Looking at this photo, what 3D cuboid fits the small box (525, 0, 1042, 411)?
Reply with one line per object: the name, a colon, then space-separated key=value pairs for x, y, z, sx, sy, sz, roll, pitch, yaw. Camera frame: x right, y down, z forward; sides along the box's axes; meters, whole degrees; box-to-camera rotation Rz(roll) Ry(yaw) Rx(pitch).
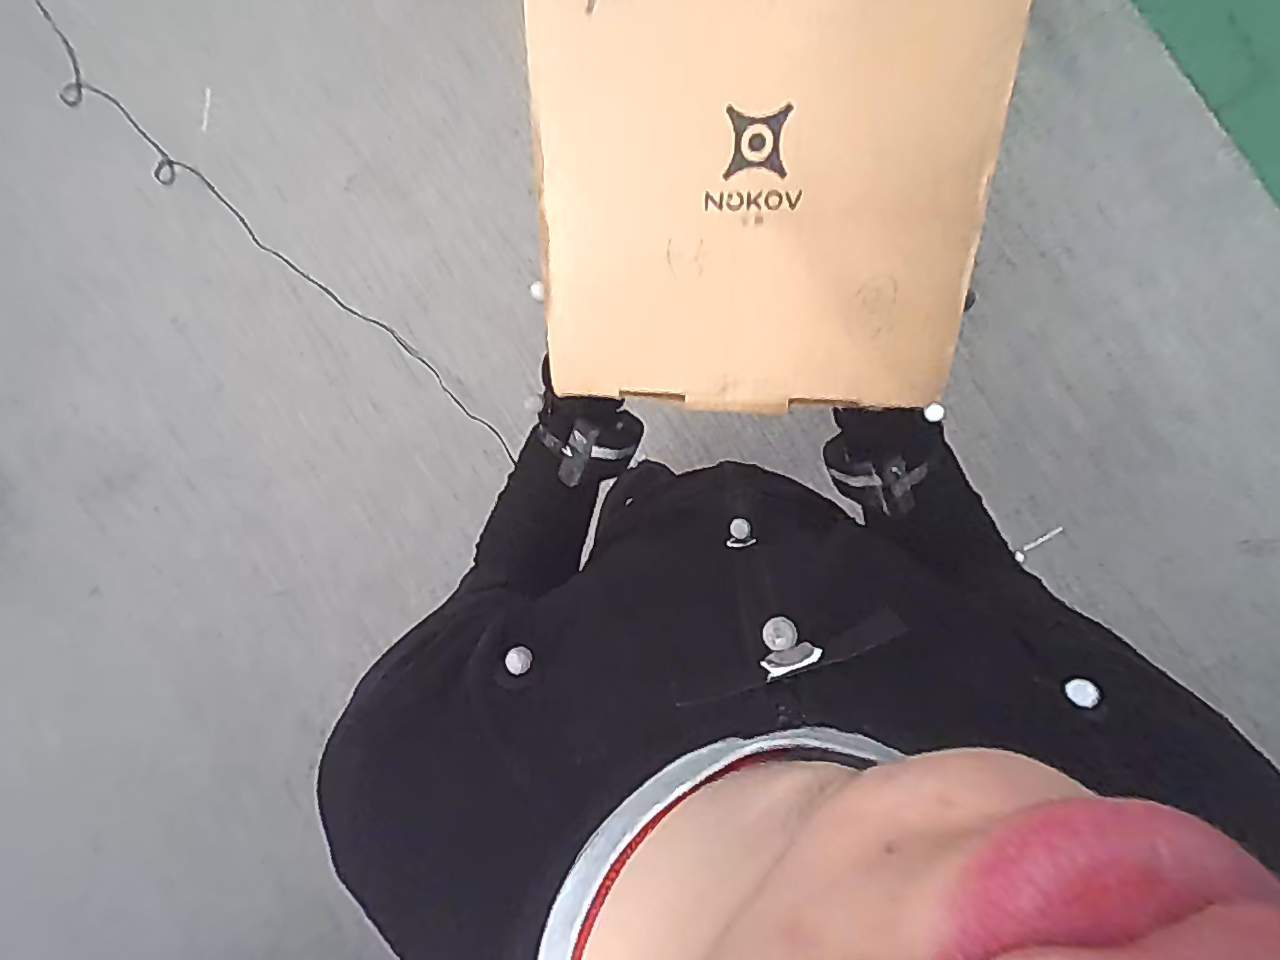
small box: x=0.052 y=-0.144 z=0.266 sx=0.168 sy=0.176 sz=0.179 roll=2 pitch=114 yaw=6
